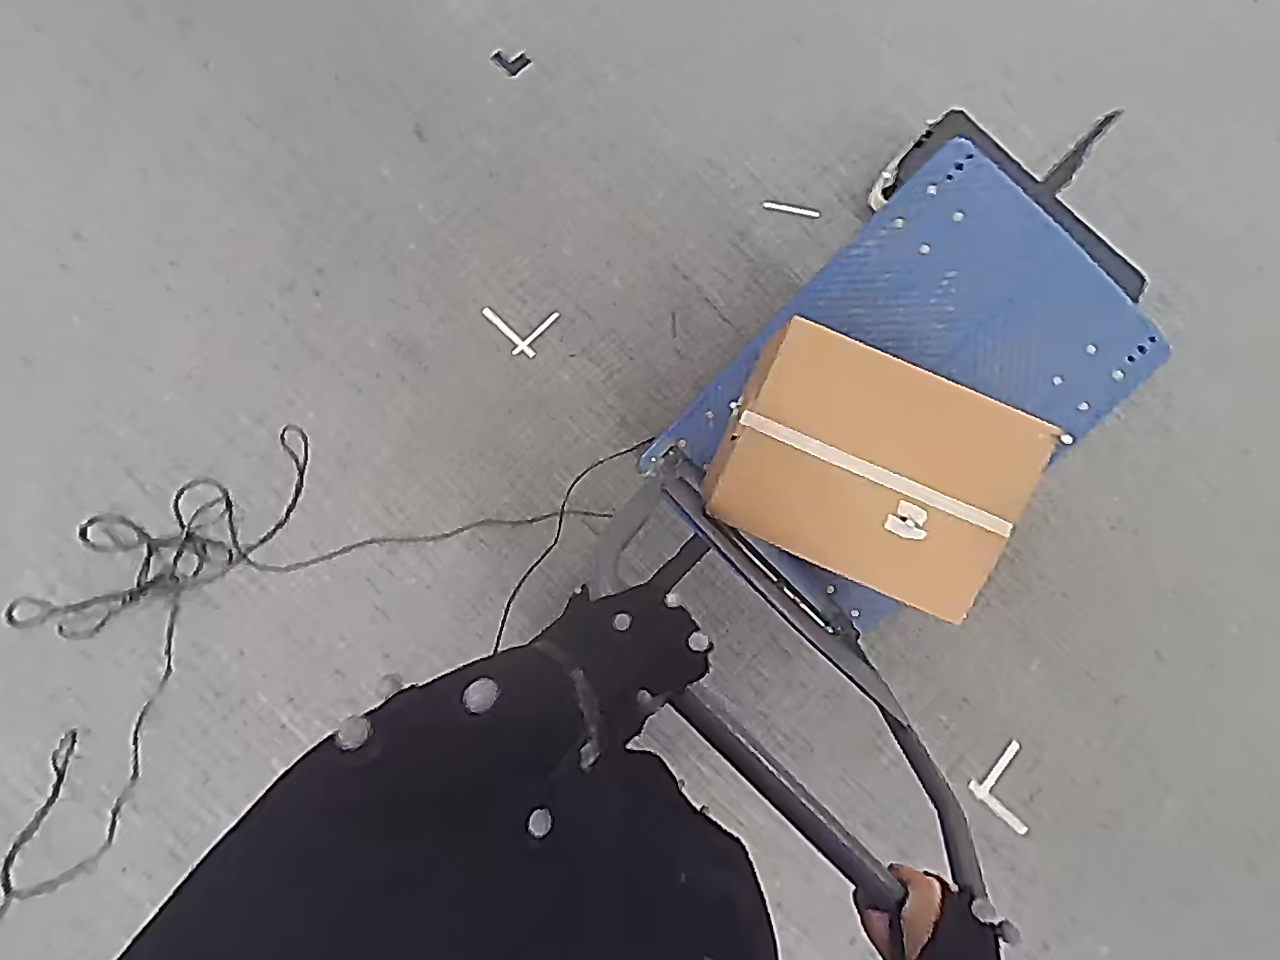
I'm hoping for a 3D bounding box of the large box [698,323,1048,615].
[{"bbox_3d":[0.344,-0.027,0.927,0.408,0.320,0.320,23,98,1],"label":"large box"}]
